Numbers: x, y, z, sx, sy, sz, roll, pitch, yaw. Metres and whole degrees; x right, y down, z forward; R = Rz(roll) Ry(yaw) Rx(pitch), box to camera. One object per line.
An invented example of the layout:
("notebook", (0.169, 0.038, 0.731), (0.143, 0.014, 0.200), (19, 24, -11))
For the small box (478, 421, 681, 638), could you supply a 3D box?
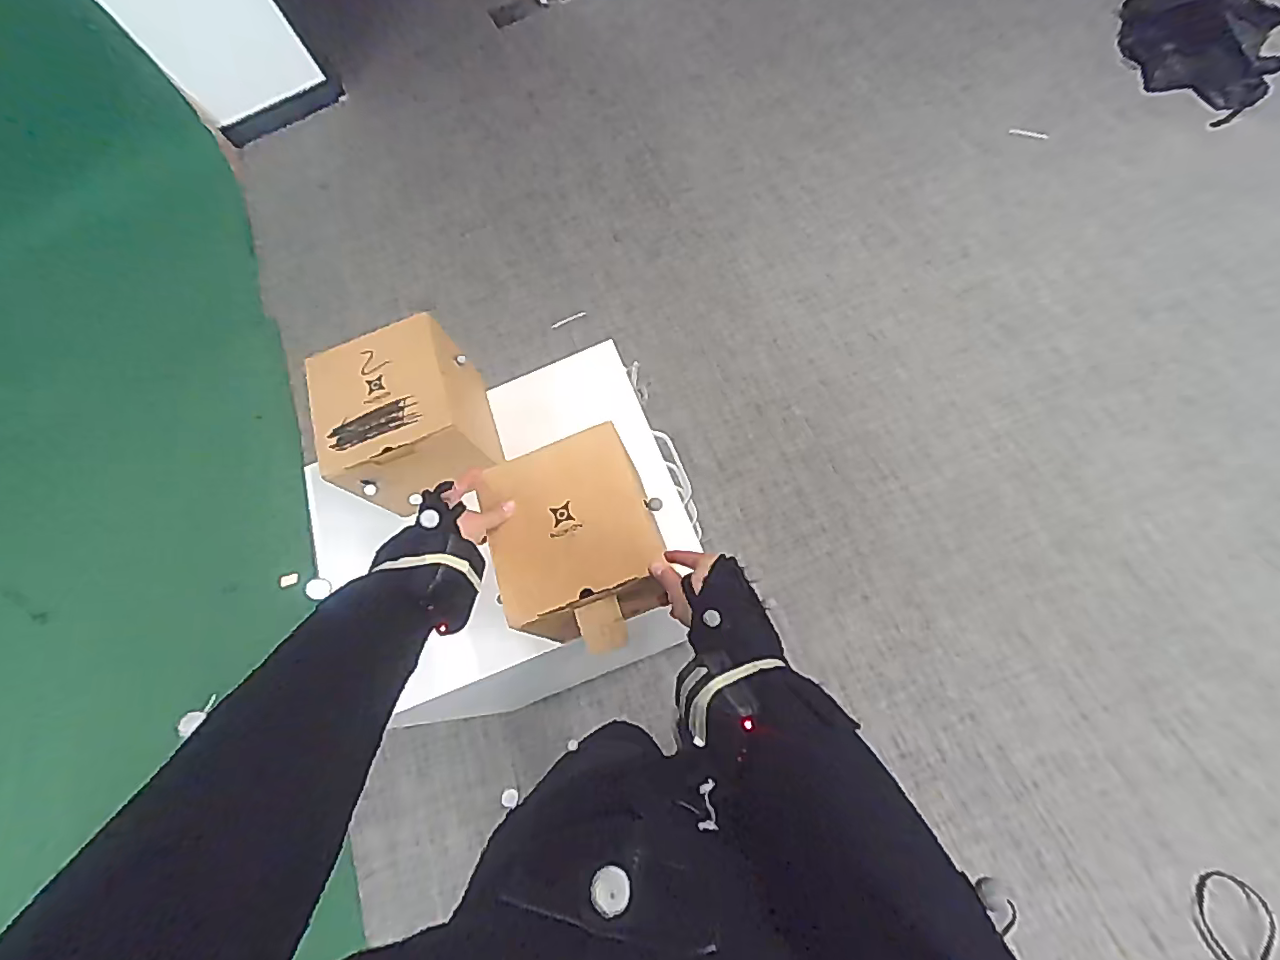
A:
("small box", (-0.062, 0.066, 0.623), (0.168, 0.176, 0.179), (-22, 67, 1))
